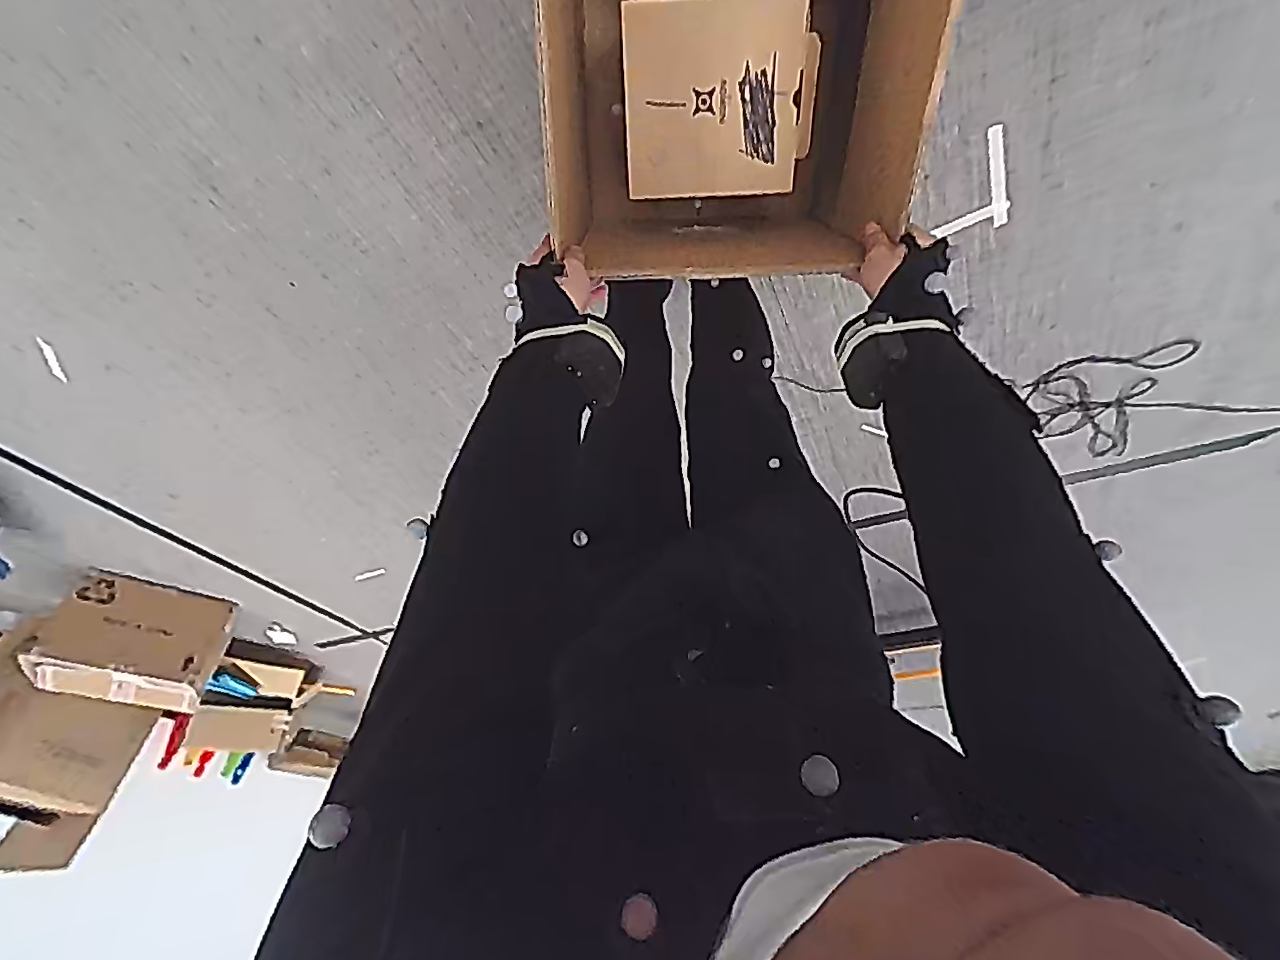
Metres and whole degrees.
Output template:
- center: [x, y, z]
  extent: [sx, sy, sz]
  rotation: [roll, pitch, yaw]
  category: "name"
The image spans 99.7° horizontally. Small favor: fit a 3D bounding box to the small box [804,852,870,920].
- center: [0.655, 1.350, 1.798]
  extent: [0.168, 0.176, 0.179]
  rotation: [-15, 138, 19]
  category: "small box"
